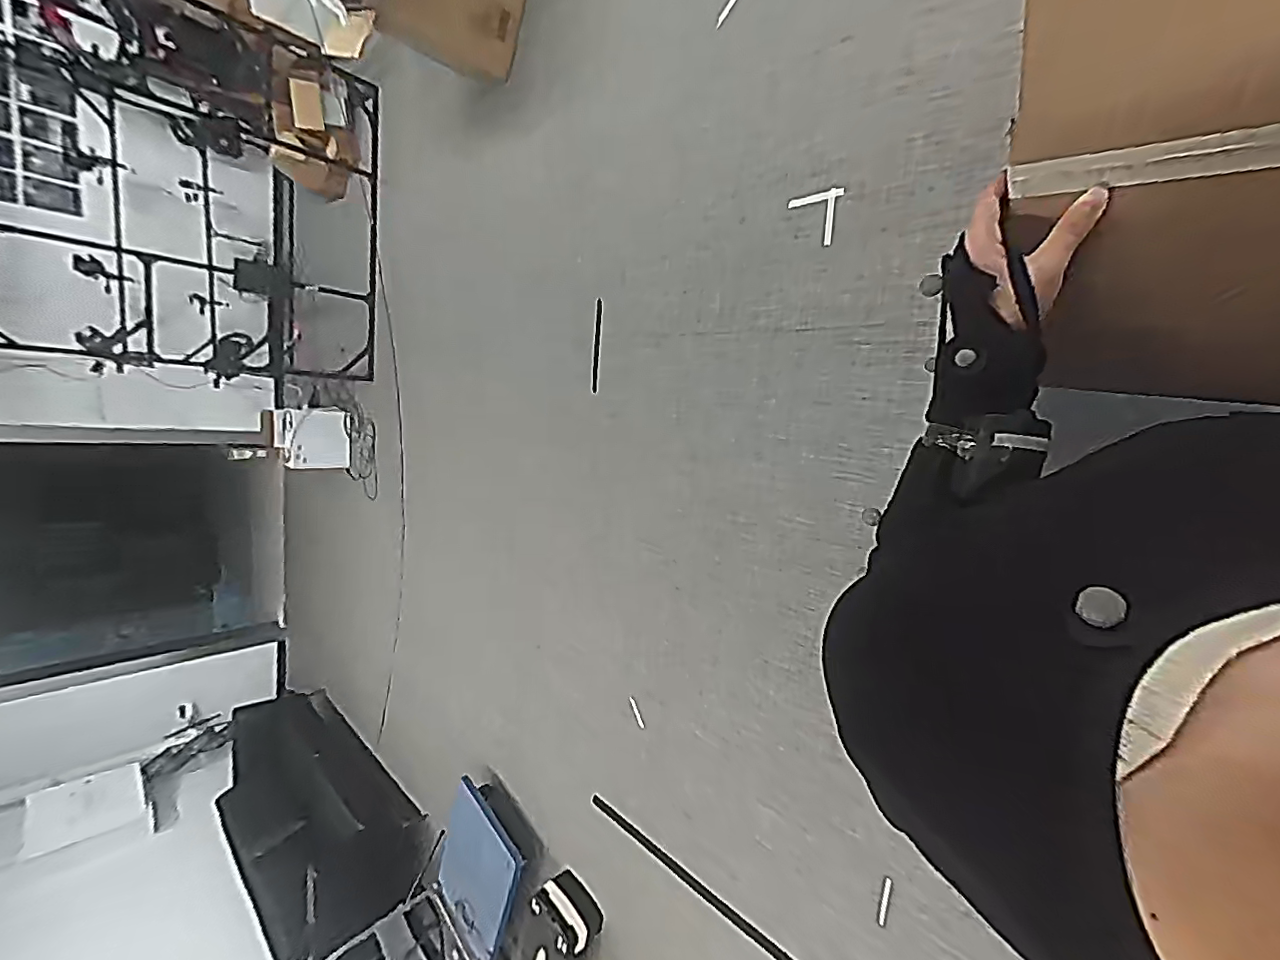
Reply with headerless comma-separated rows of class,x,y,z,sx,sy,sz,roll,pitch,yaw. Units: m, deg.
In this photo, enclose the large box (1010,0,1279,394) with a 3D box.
large box,0.495,-0.253,0.312,0.408,0.320,0.320,16,138,44
